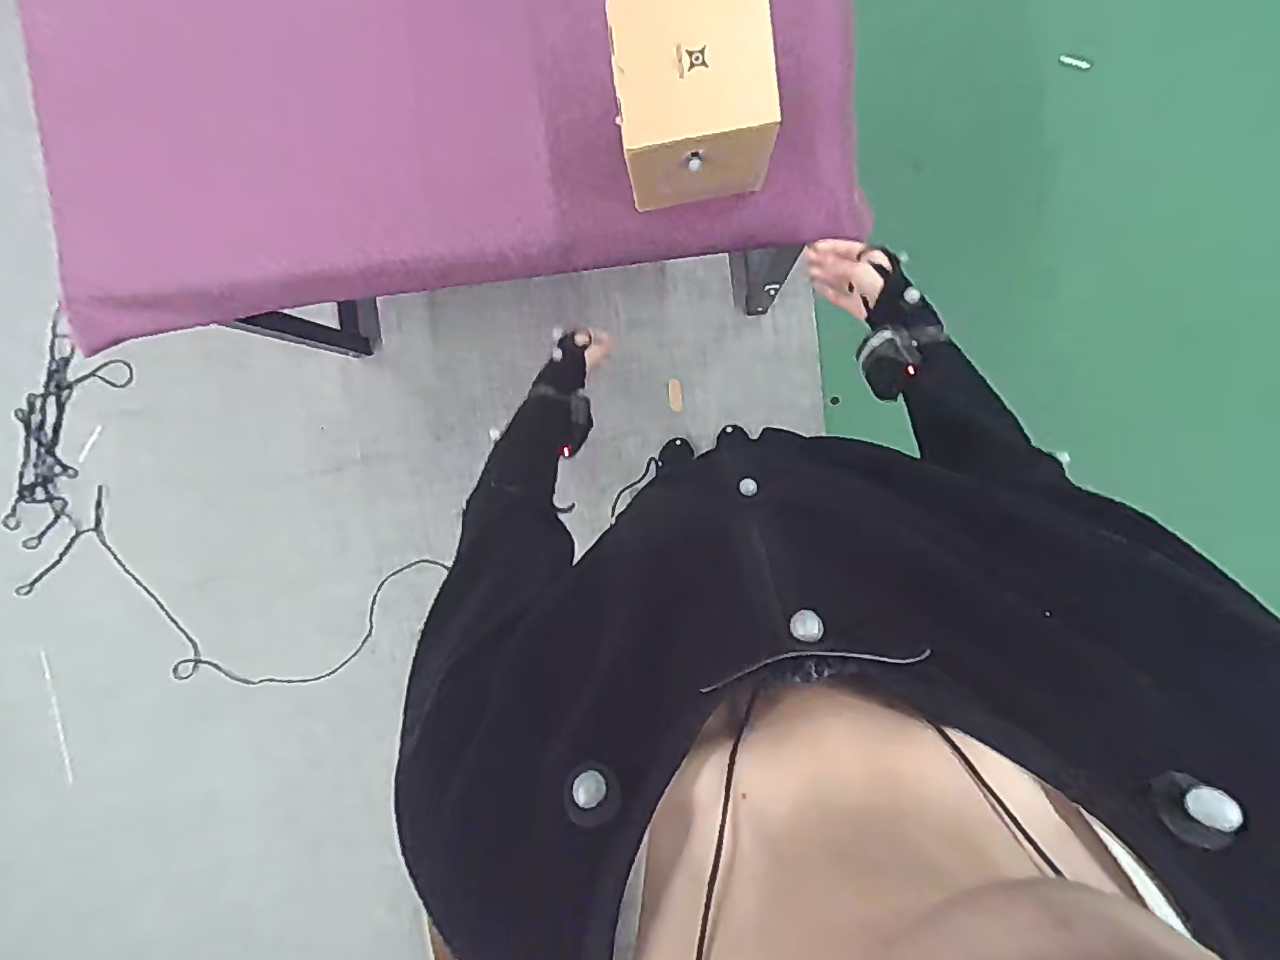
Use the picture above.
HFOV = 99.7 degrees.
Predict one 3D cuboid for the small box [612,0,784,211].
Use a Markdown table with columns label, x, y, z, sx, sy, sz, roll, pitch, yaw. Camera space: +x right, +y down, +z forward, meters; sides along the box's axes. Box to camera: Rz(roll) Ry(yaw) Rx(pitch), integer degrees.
| label | x | y | z | sx | sy | sz | roll | pitch | yaw |
| --- | --- | --- | --- | --- | --- | --- | --- | --- | --- |
| small box | 0.073 | -0.463 | 0.675 | 0.179 | 0.176 | 0.168 | -7 | 94 | 9 |

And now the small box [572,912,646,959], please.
| label | x | y | z | sx | sy | sz | roll | pitch | yaw |
| --- | --- | --- | --- | --- | --- | --- | --- | --- | --- |
| small box | -0.084 | 1.349 | 1.507 | 0.179 | 0.176 | 0.168 | -11 | 91 | 10 |
